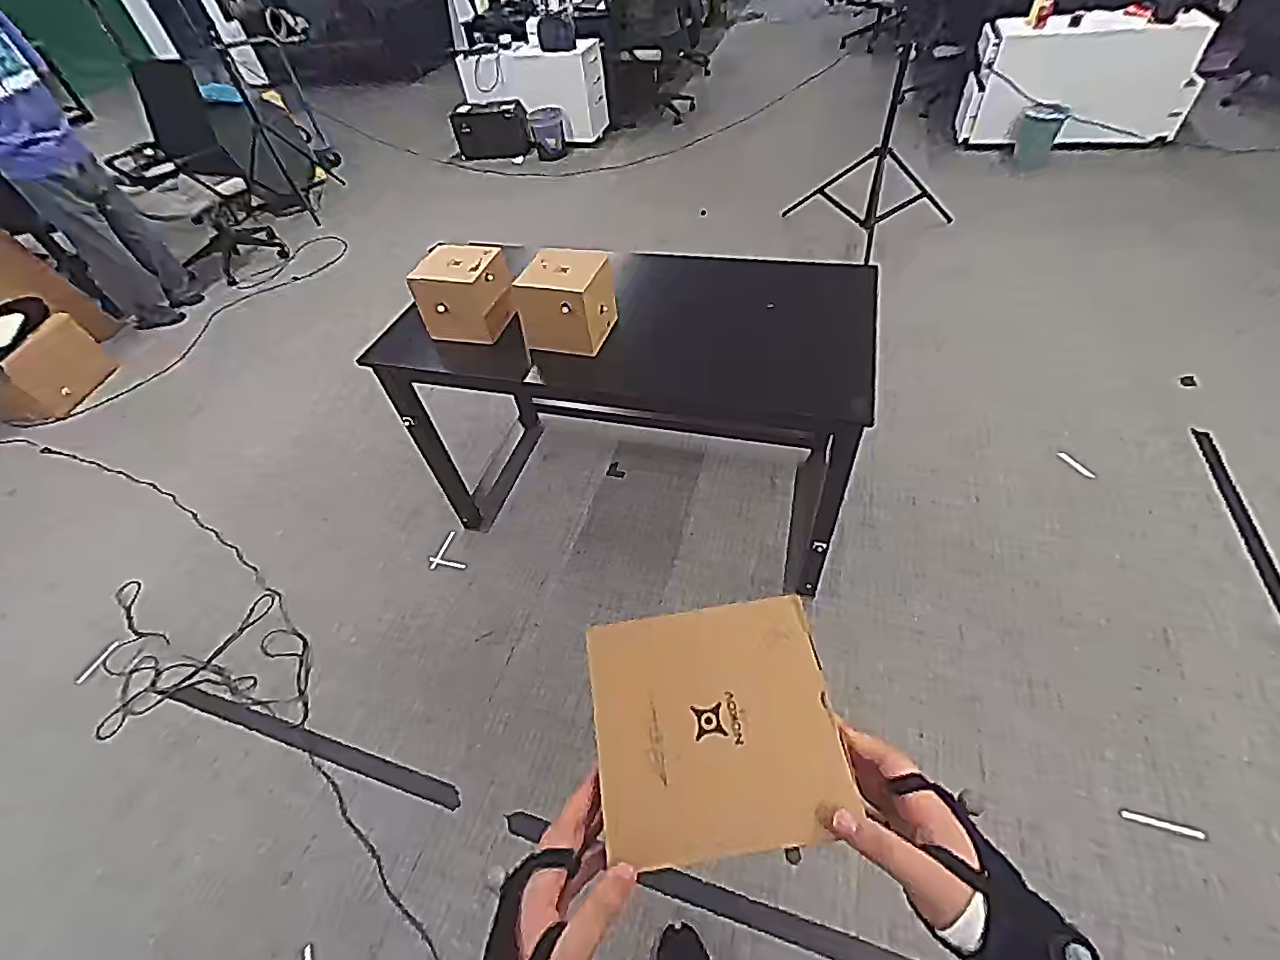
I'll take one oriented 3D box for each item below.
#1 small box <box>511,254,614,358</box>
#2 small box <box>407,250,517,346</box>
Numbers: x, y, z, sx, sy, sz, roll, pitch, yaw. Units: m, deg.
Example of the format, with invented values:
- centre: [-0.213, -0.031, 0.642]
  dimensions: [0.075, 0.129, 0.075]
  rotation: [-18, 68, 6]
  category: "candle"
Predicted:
- centre: [-0.171, -0.407, 1.269]
  dimensions: [0.179, 0.176, 0.168]
  rotation: [10, 51, 16]
  category: "small box"
- centre: [-0.431, -0.448, 1.338]
  dimensions: [0.179, 0.176, 0.168]
  rotation: [7, 51, 13]
  category: "small box"
